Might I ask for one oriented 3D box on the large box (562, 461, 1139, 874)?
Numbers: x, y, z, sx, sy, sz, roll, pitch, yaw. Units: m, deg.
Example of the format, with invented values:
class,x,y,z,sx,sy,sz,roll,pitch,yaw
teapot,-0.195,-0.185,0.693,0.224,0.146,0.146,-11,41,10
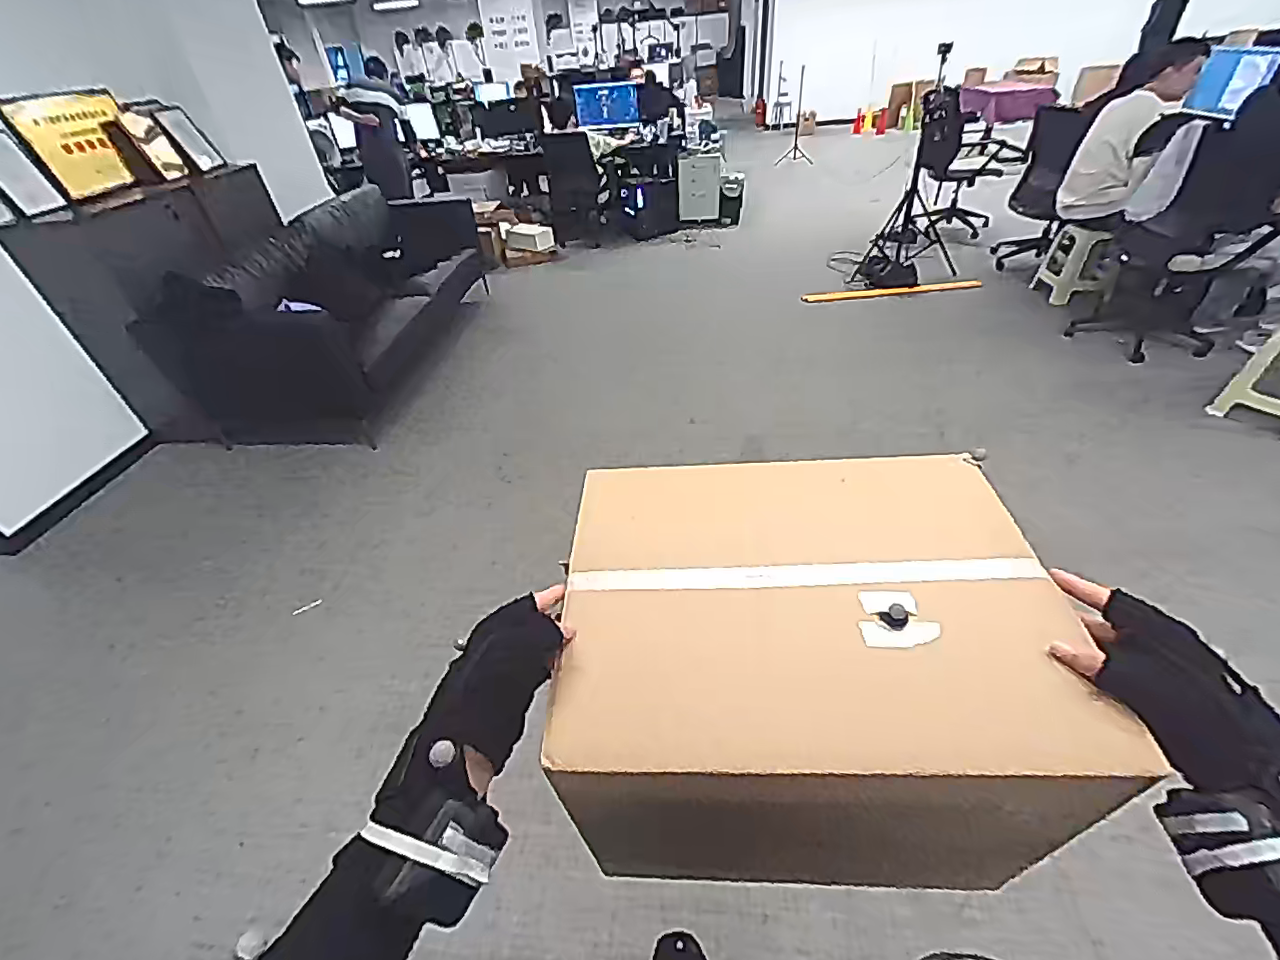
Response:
class,x,y,z,sx,sy,sz,roll,pitch,yaw
large box,0.153,0.200,0.582,0.408,0.320,0.320,-2,43,5
